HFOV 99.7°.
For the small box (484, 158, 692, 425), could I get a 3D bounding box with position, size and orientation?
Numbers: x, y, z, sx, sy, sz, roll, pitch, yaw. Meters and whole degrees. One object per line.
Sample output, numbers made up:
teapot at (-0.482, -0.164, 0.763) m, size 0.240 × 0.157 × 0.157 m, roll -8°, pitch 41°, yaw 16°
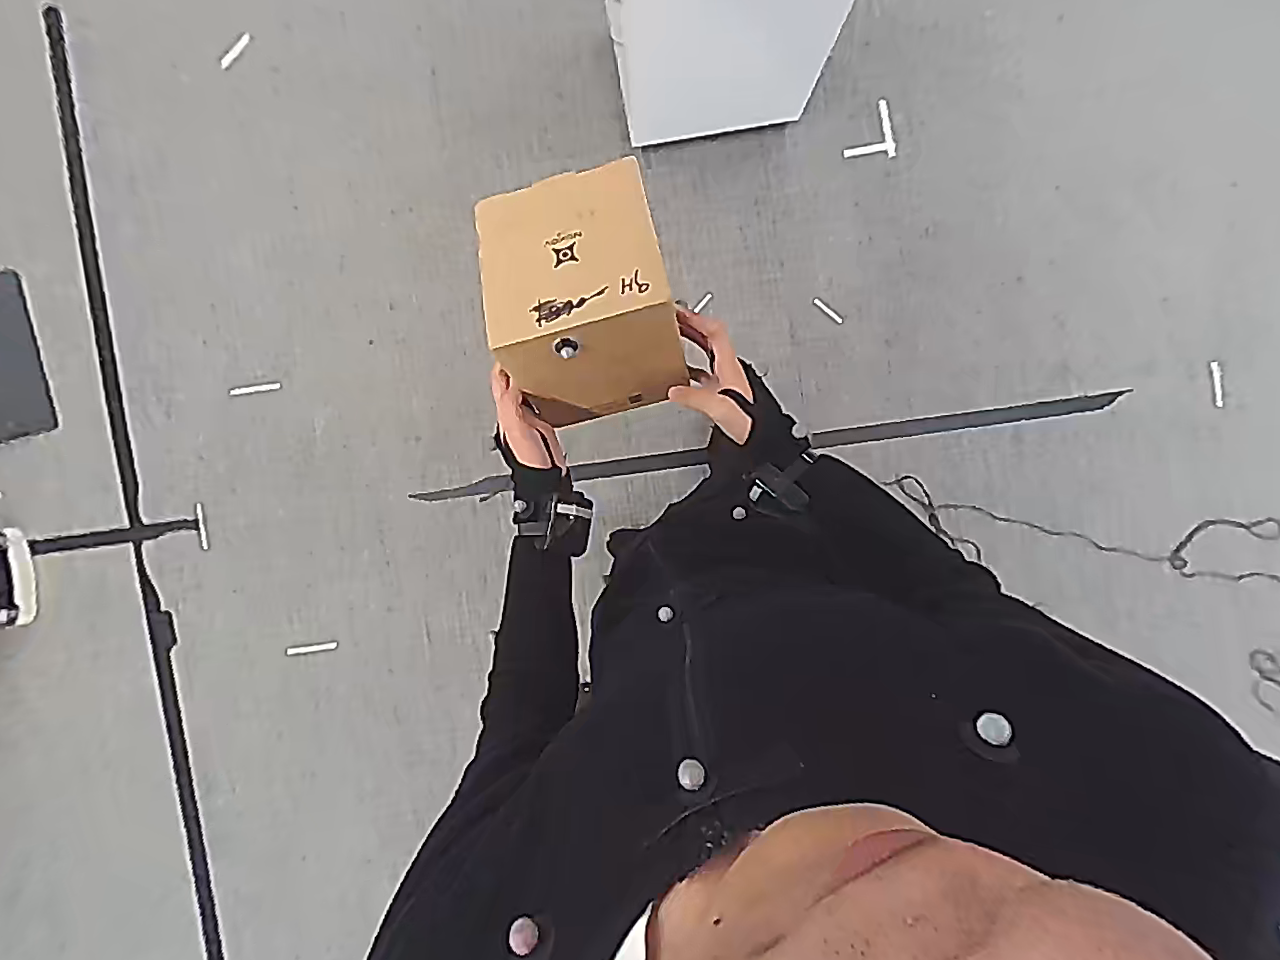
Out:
small box at (-0.047, -0.183, 0.561) m, size 0.168 × 0.176 × 0.179 m, roll -13°, pitch 69°, yaw 6°
